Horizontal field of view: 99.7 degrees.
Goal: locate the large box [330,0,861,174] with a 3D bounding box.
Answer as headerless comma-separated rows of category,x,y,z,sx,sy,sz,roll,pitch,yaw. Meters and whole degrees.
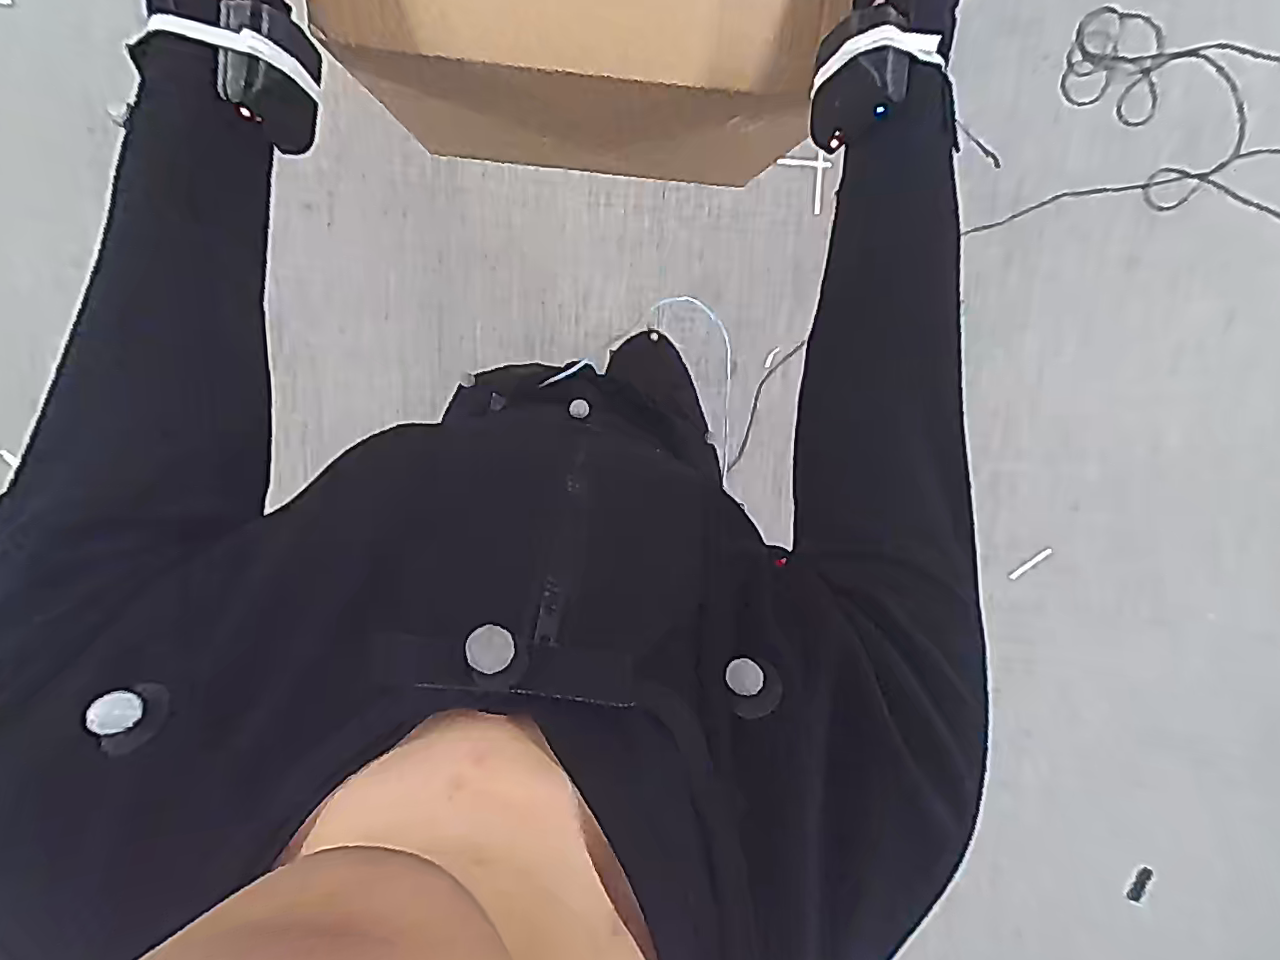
large box,-0.035,-0.509,0.510,0.408,0.320,0.320,2,108,-7
